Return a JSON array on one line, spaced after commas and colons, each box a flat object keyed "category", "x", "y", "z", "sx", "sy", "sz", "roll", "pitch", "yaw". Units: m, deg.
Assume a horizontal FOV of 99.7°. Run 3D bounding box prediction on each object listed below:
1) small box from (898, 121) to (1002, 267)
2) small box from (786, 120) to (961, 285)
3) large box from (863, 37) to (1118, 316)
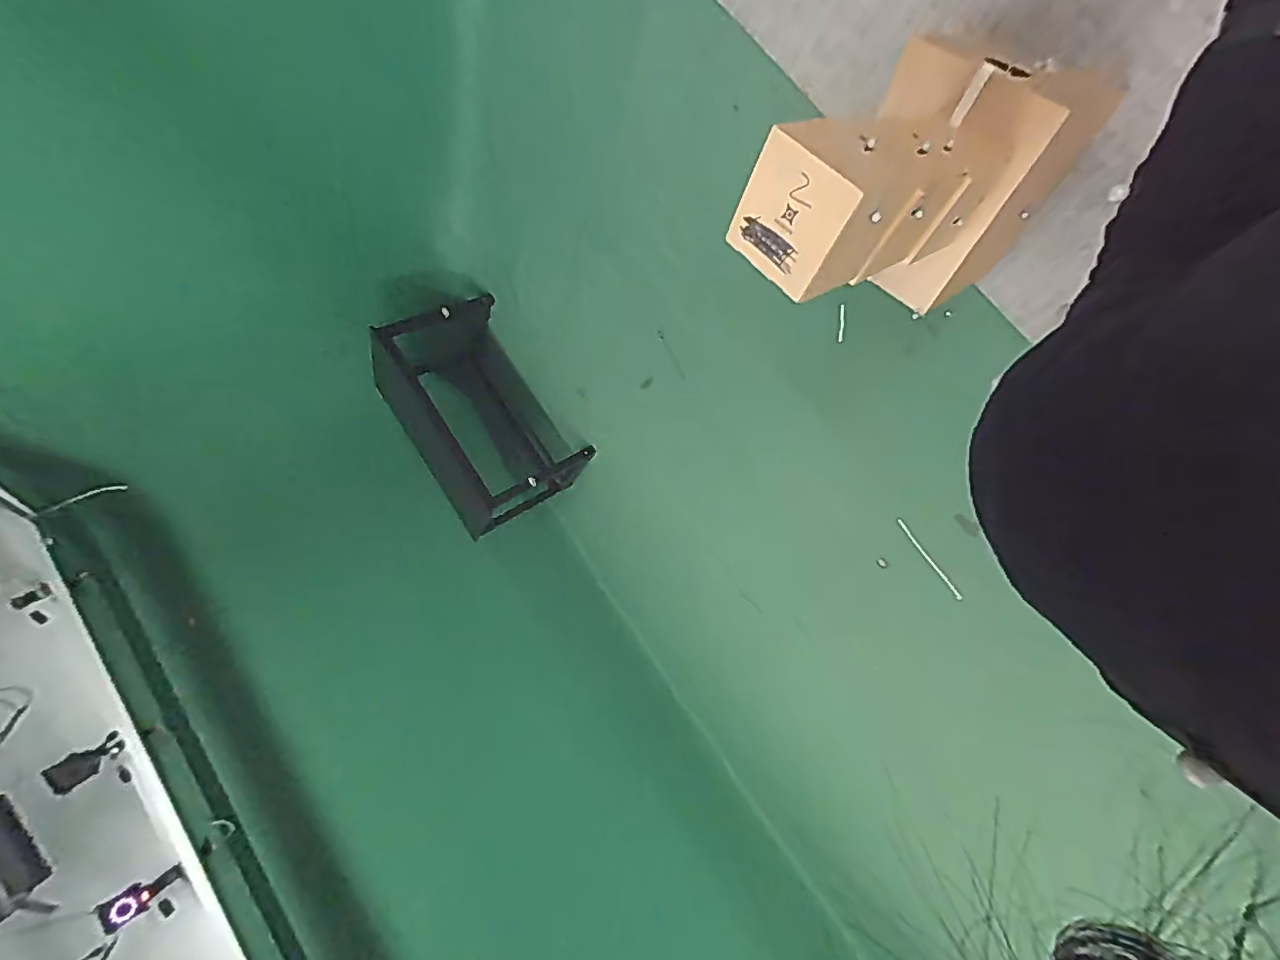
[{"category": "small box", "x": 0.508, "y": -0.527, "z": 0.986, "sx": 0.179, "sy": 0.176, "sz": 0.168, "roll": 49, "pitch": 146, "yaw": 16}, {"category": "small box", "x": 0.386, "y": -0.463, "z": 0.901, "sx": 0.168, "sy": 0.176, "sz": 0.179, "roll": 49, "pitch": 146, "yaw": 15}, {"category": "large box", "x": 0.664, "y": -0.640, "z": 1.145, "sx": 0.320, "sy": 0.320, "sz": 0.408, "roll": 47, "pitch": 148, "yaw": 22}]
